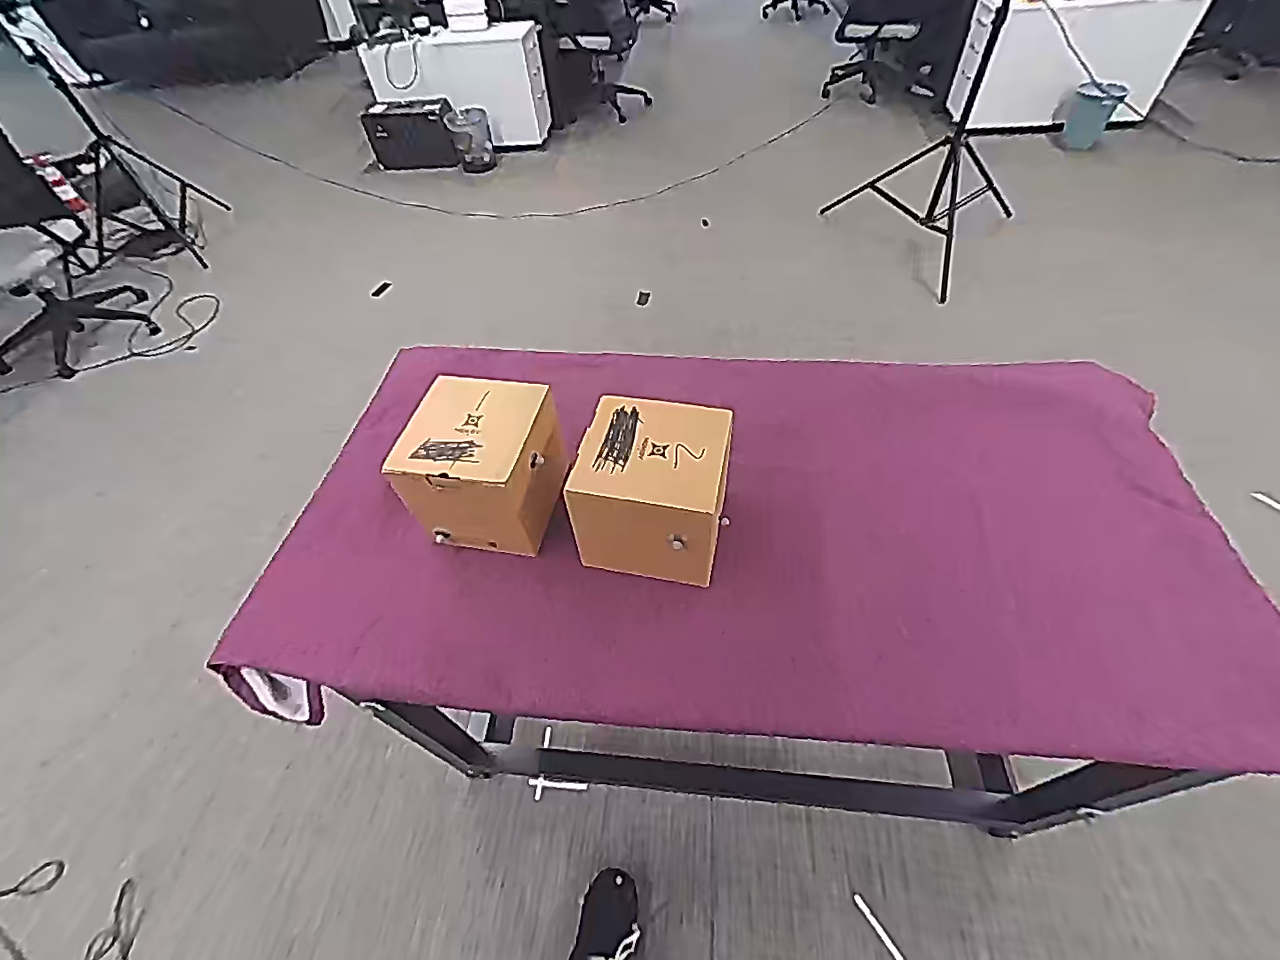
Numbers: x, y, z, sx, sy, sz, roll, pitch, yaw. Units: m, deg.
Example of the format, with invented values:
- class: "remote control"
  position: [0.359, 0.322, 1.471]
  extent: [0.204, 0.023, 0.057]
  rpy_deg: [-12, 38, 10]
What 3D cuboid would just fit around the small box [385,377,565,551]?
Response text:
- class: "small box"
  position: [-0.212, -0.020, 0.759]
  extent: [0.168, 0.176, 0.179]
  rpy_deg: [7, 52, 9]
